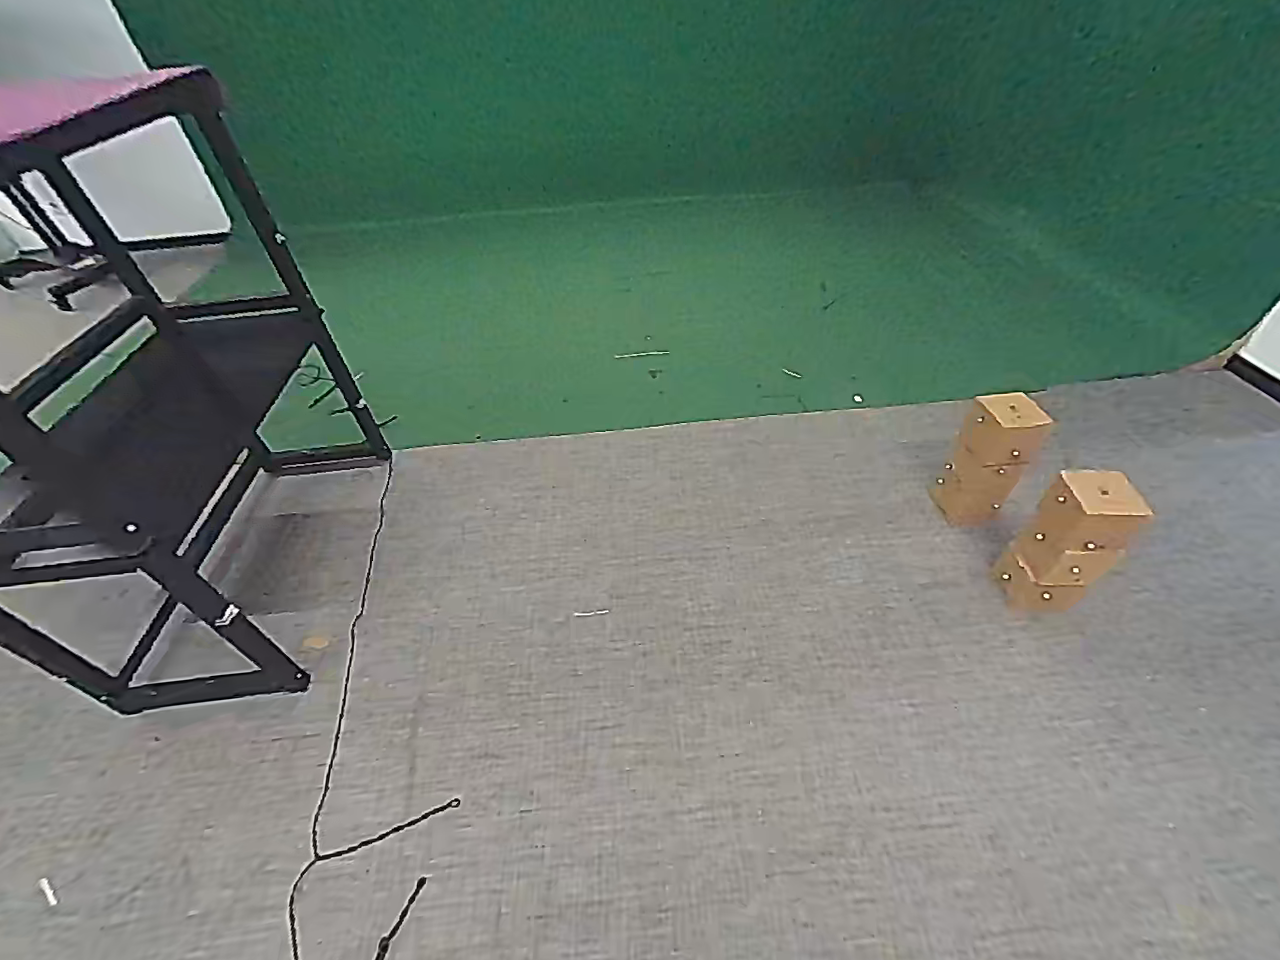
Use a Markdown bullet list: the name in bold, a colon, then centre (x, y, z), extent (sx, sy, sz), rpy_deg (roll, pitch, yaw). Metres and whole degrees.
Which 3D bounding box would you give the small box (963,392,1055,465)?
- **small box**: centre (1.236, -0.174, 1.830), extent (0.168, 0.176, 0.179), rpy_deg (-6, 45, -1)

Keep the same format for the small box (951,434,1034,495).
- **small box**: centre (1.257, -0.062, 1.950), extent (0.179, 0.176, 0.168), rpy_deg (-6, 45, -3)

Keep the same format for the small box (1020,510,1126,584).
- **small box**: centre (1.325, 0.209, 1.669), extent (0.168, 0.176, 0.179), rpy_deg (-1, 44, 4)

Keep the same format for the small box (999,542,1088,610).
- **small box**: centre (1.327, 0.319, 1.790), extent (0.179, 0.176, 0.168), rpy_deg (-1, 45, 6)

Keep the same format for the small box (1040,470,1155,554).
- **small box**: centre (1.304, 0.090, 1.559), extent (0.168, 0.176, 0.179), rpy_deg (1, 45, 8)
